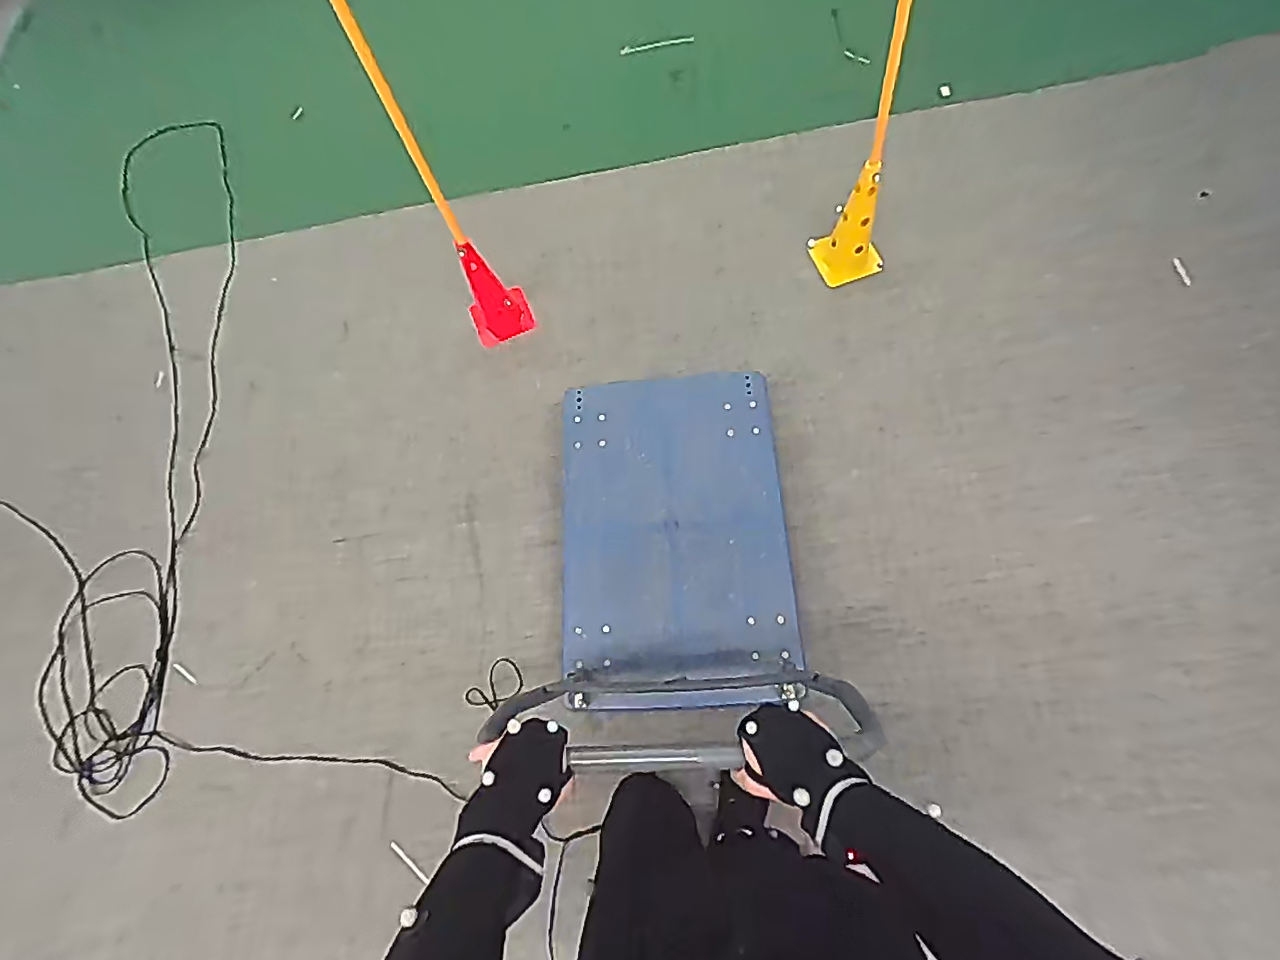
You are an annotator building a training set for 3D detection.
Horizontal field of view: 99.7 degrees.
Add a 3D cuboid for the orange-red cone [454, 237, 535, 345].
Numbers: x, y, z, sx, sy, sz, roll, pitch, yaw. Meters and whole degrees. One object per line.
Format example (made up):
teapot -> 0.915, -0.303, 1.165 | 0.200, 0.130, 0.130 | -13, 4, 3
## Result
orange-red cone -> -0.501, -0.629, 1.730 | 0.199, 0.360, 0.198 | -23, 68, 0
